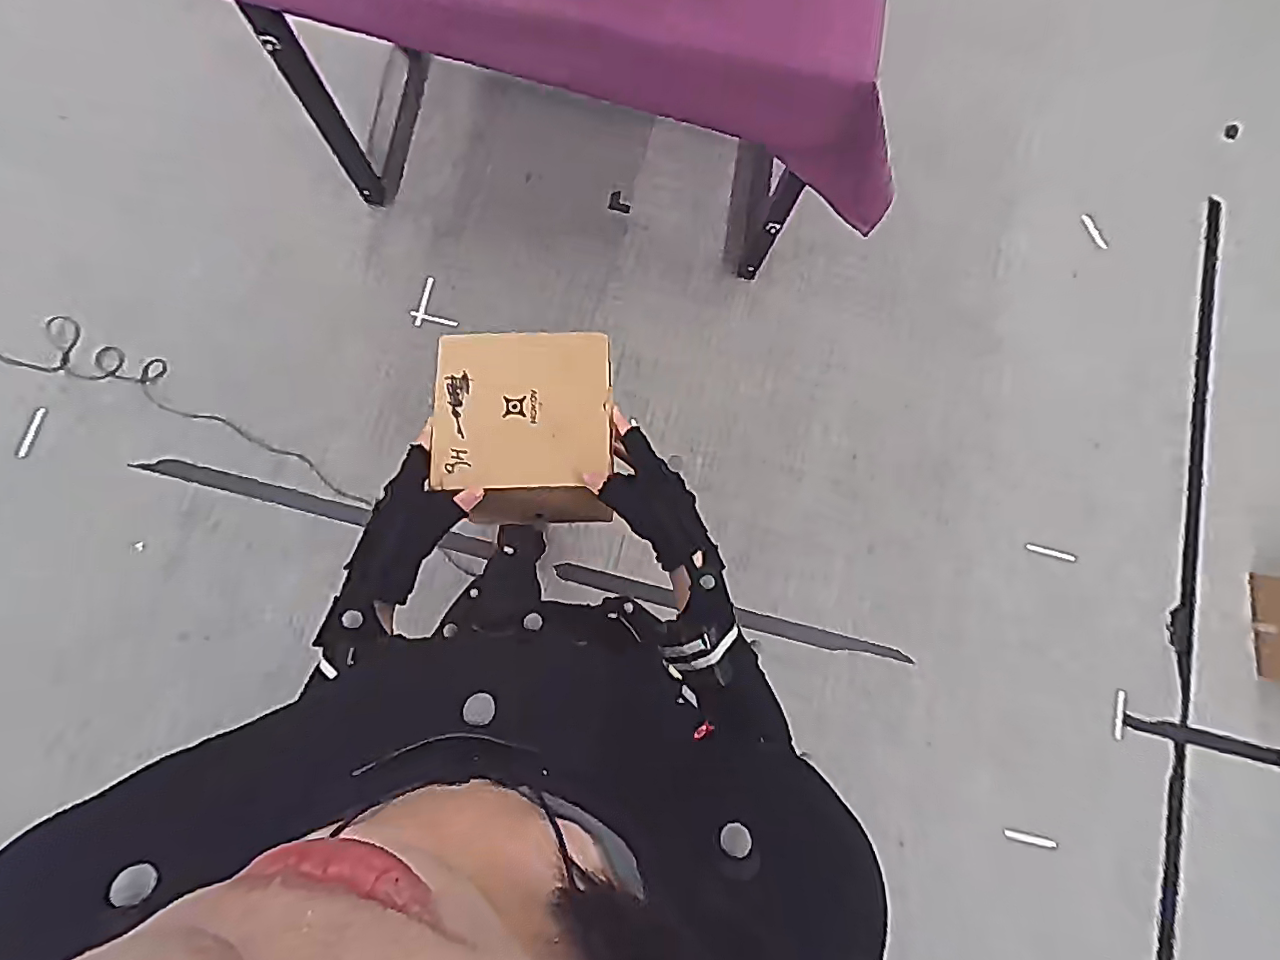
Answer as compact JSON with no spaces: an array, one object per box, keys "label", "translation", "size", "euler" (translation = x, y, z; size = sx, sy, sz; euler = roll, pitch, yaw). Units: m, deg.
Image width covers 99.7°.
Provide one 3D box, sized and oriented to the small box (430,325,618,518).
[{"label":"small box","translation":[-0.115,-0.055,0.605],"size":[0.179,0.176,0.168],"euler":[-1,74,-3]}]
